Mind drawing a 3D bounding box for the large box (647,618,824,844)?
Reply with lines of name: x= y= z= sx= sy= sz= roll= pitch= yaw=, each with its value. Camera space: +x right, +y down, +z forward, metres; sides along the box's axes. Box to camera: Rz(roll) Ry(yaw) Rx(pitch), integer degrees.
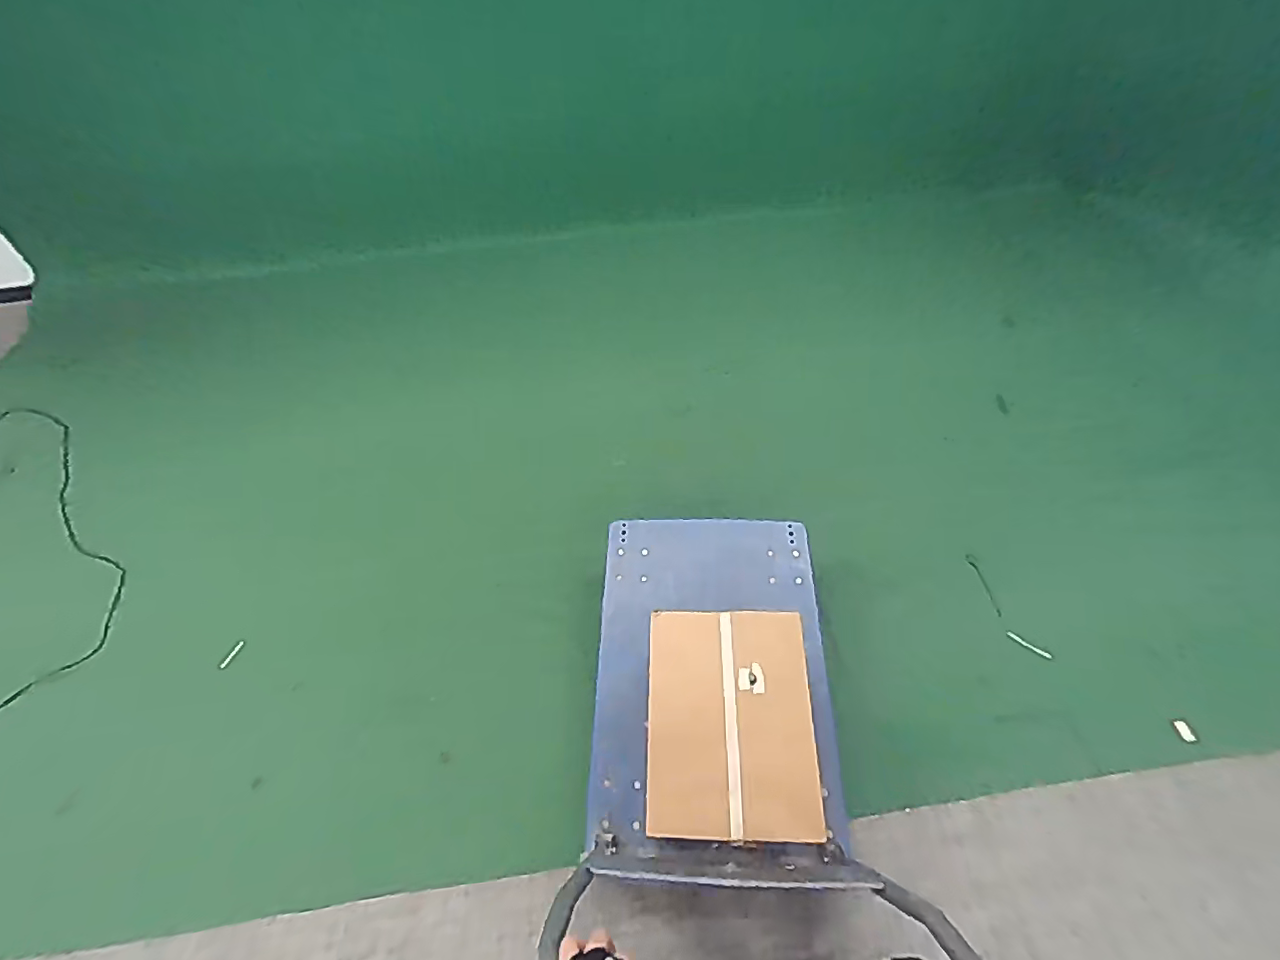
large box: x=0.182 y=0.544 z=1.171 sx=0.320 sy=0.320 sz=0.408 roll=0 pitch=58 yaw=4
